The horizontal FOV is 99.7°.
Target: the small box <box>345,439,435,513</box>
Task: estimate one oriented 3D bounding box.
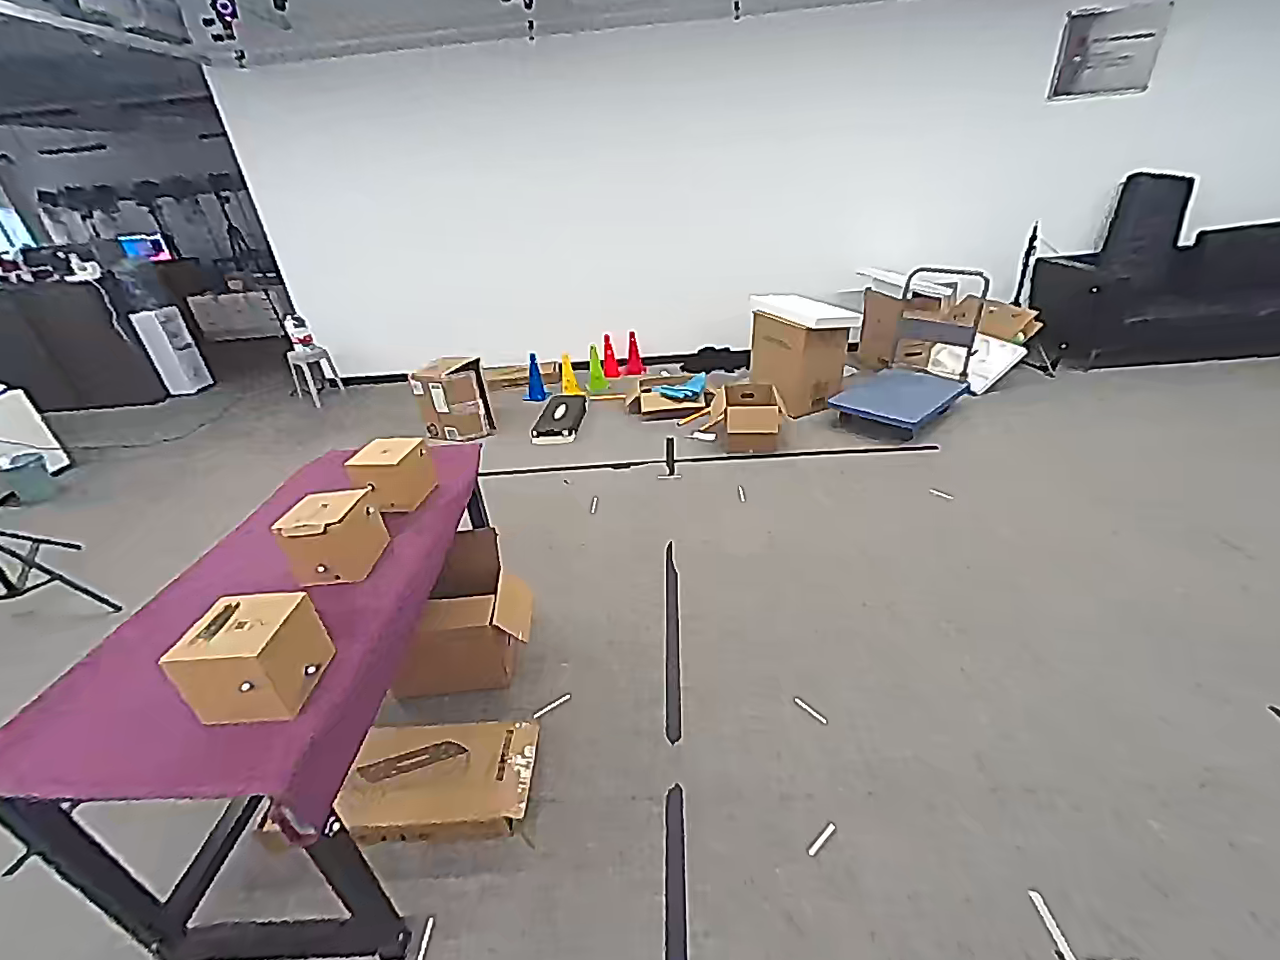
[{"bbox_3d":[-0.750,-0.009,1.645,0.168,0.176,0.179,-1,29,8],"label":"small box"}]

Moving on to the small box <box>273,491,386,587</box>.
[{"bbox_3d":[-0.770,0.147,1.368,0.168,0.176,0.179,-6,29,3],"label":"small box"}]
